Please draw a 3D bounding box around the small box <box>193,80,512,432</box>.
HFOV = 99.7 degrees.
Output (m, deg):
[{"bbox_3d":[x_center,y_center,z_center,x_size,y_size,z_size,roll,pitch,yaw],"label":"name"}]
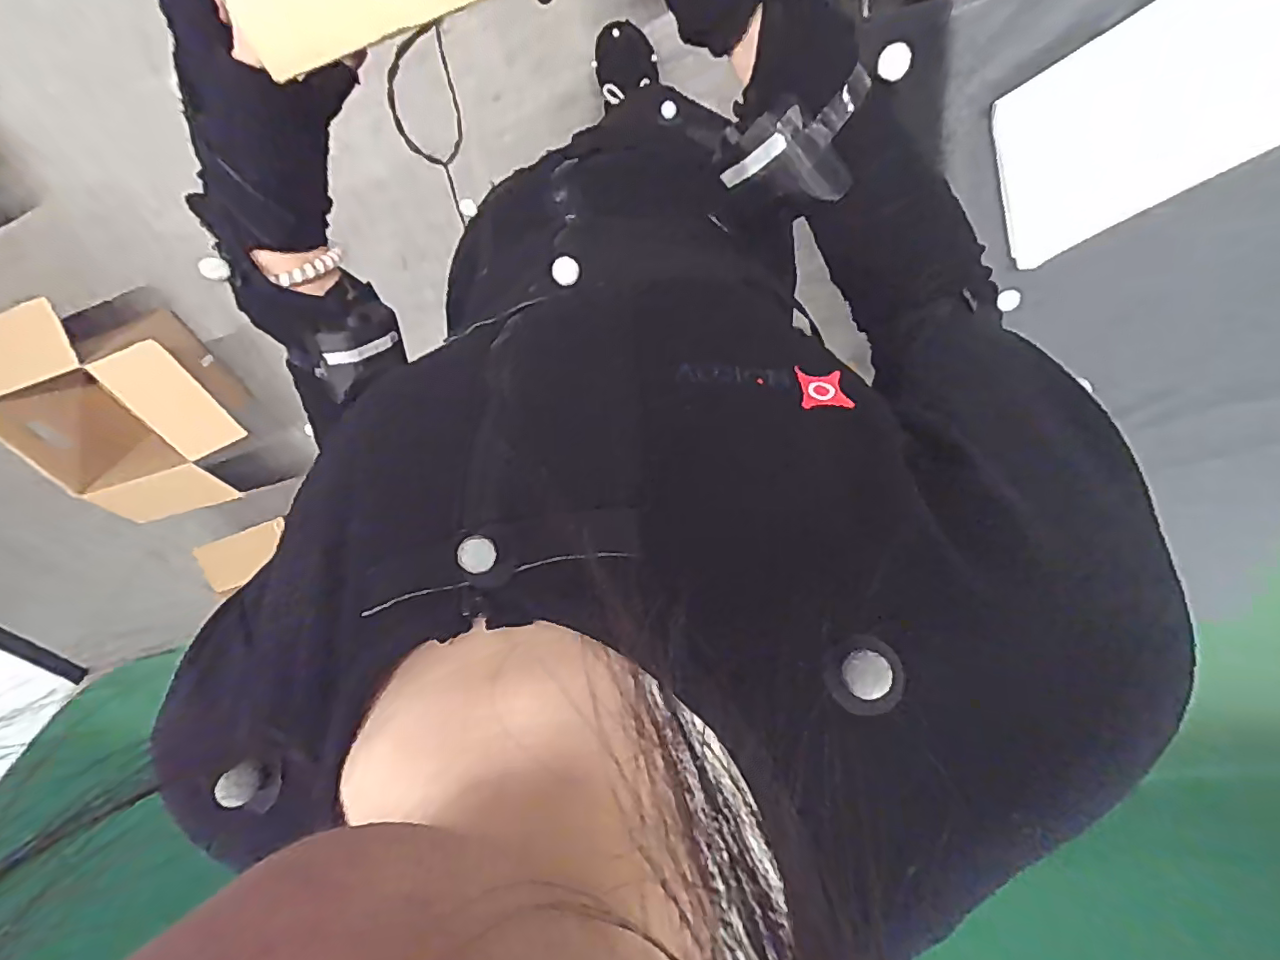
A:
[{"bbox_3d":[-0.212,-0.134,0.394,0.168,0.176,0.179,-3,103,-43],"label":"small box"}]
